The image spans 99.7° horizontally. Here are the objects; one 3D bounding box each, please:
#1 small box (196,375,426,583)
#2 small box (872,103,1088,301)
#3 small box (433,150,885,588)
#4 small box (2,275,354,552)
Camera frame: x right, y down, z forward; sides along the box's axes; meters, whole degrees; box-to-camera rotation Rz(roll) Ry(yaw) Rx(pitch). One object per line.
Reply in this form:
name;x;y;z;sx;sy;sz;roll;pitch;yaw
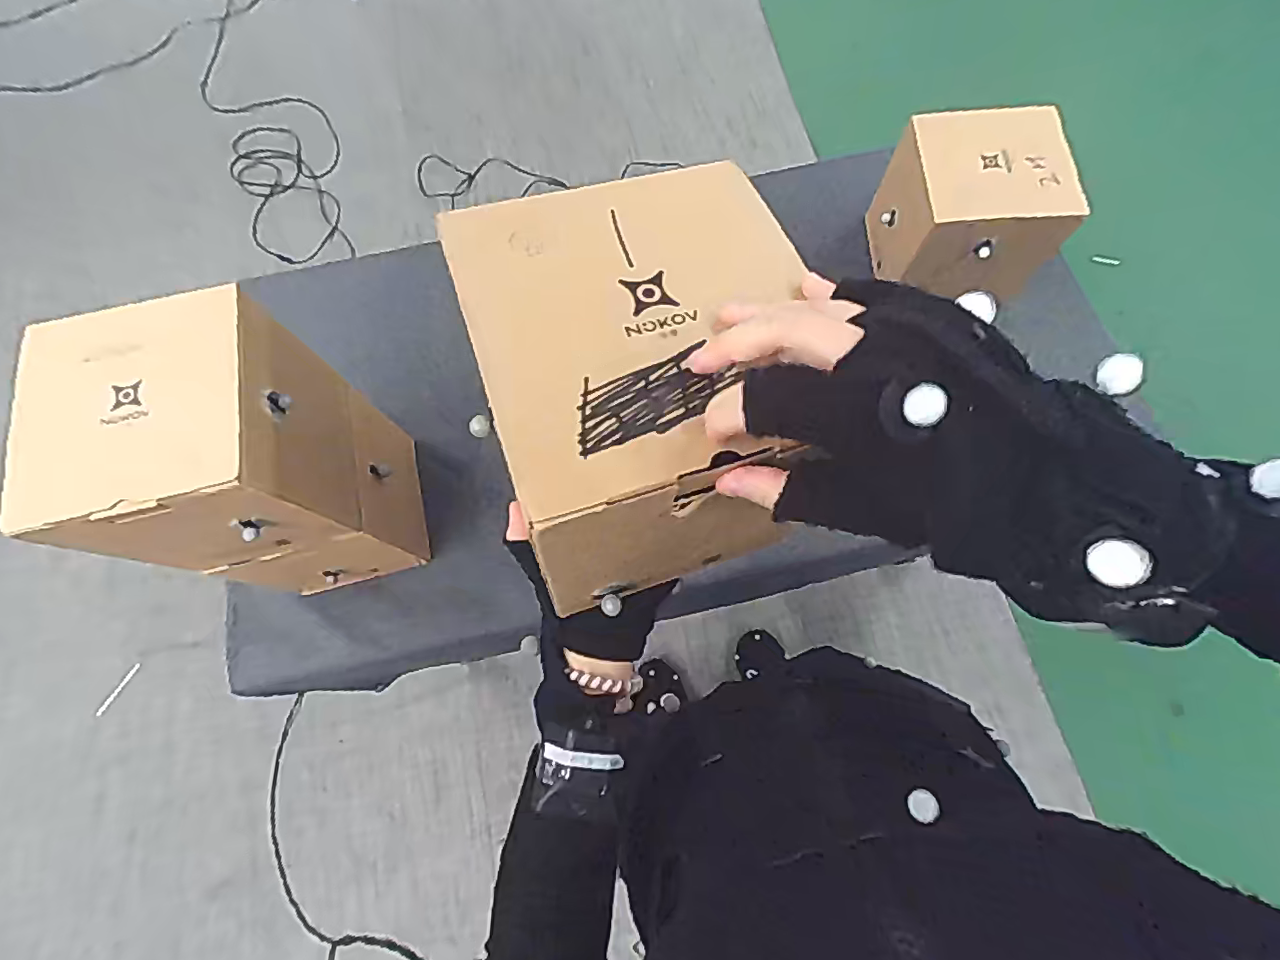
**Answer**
small box;-0.369;0.008;0.630;0.168;0.176;0.179;-14;73;-3
small box;0.421;-0.352;0.709;0.179;0.176;0.168;-1;73;2
small box;-0.002;-0.049;0.318;0.168;0.176;0.179;-16;66;-12
small box;-0.375;-0.041;0.475;0.168;0.176;0.179;-12;72;-3
